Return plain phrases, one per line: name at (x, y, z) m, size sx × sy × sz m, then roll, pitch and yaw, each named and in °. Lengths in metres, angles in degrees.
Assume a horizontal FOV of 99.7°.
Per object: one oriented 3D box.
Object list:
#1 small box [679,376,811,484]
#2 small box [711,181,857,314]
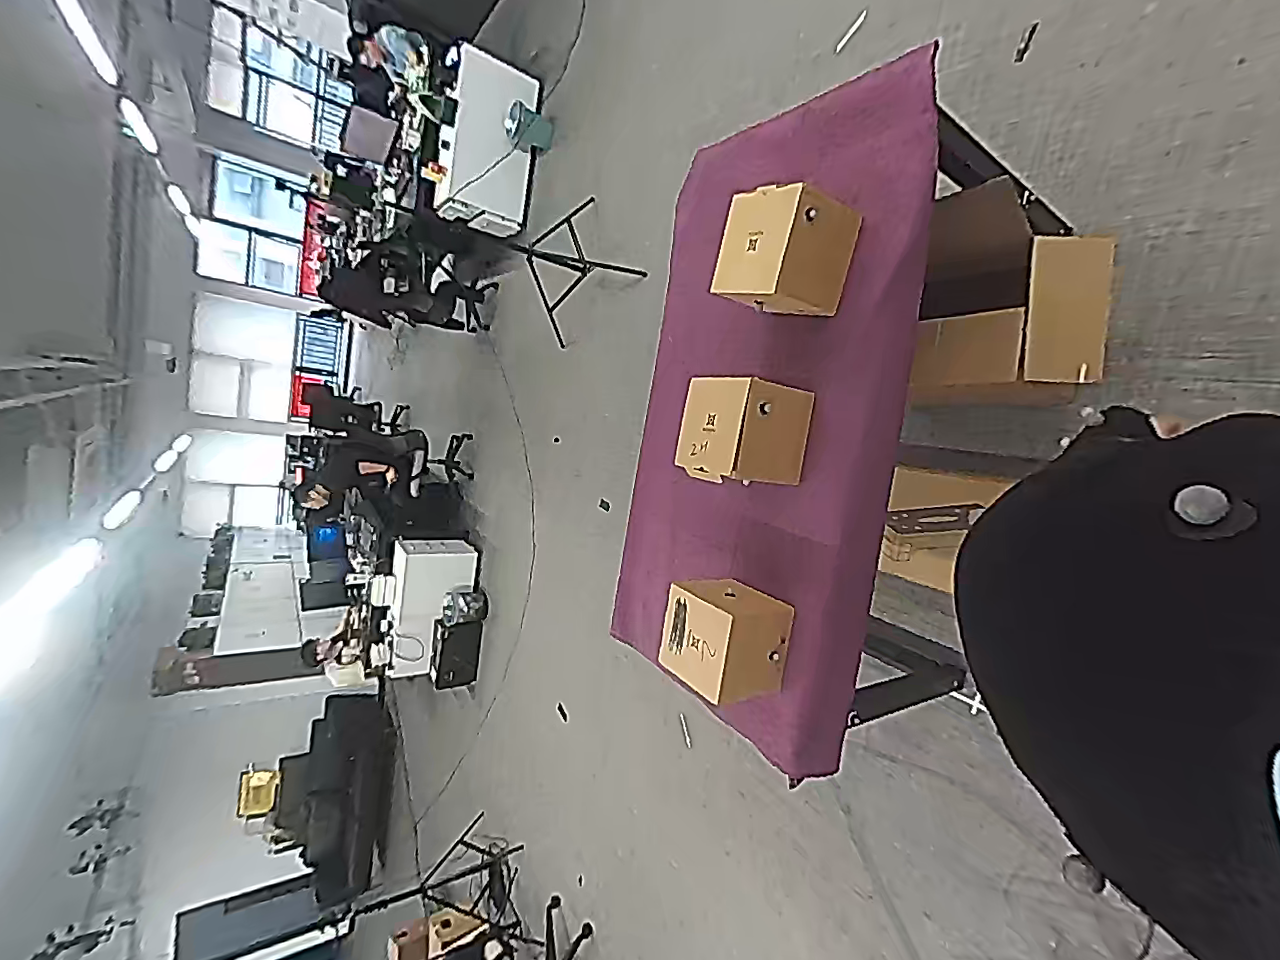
small box at (0.199, -0.095, 1.021) m, size 0.168 × 0.176 × 0.179 m, roll 17°, pitch 100°, yaw 57°
small box at (0.258, -0.404, 0.971) m, size 0.168 × 0.176 × 0.179 m, roll 28°, pitch 109°, yaw 53°
